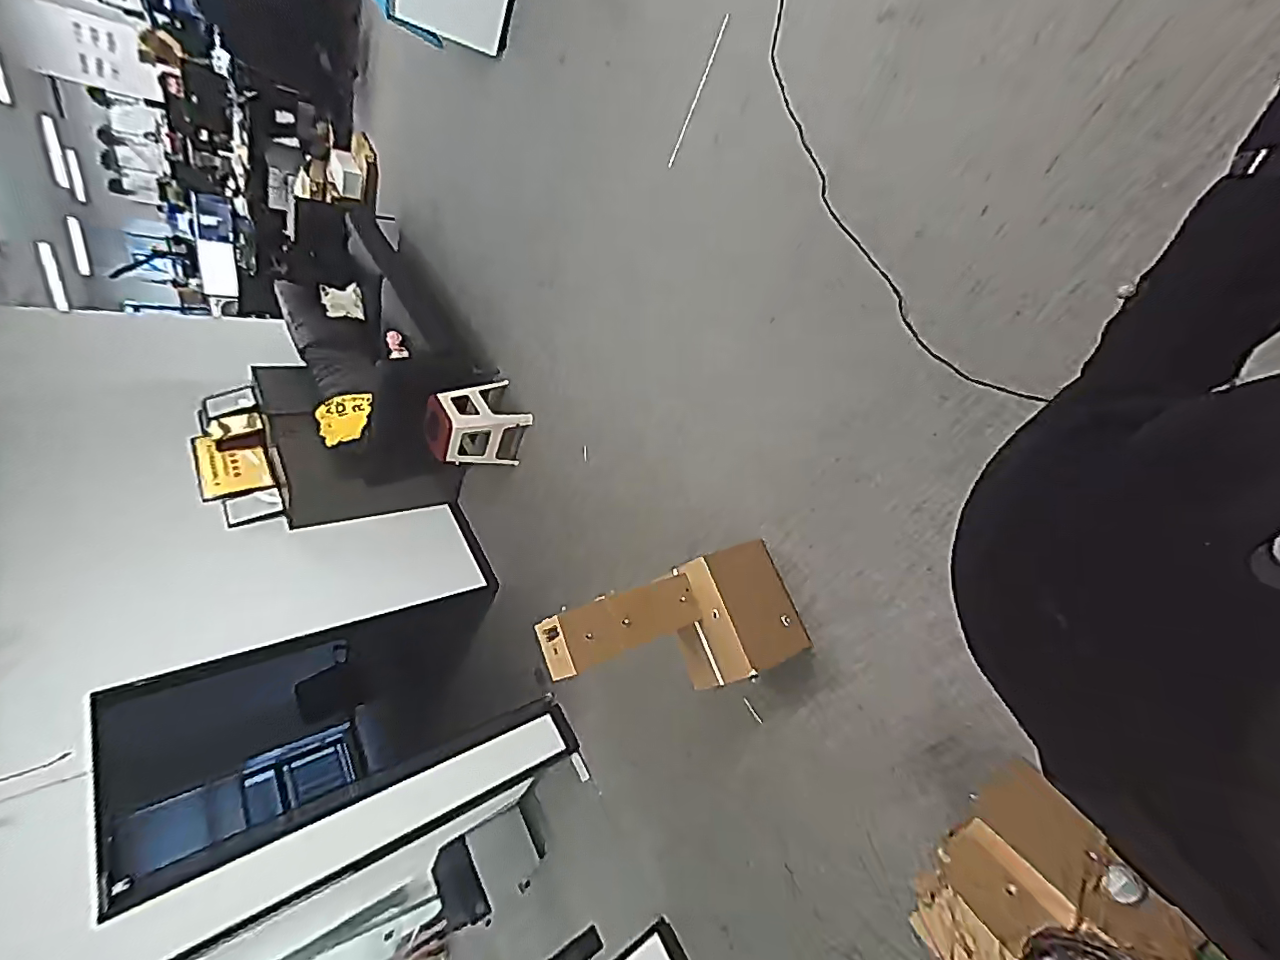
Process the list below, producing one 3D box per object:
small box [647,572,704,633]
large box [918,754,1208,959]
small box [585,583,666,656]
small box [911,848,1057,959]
[{"bbox_3d":[0.083,0.426,1.823,0.179,0.176,0.168,-40,67,48],"label":"small box"},{"bbox_3d":[0.959,0.951,1.257,0.408,0.320,0.320,40,127,37],"label":"large box"},{"bbox_3d":[-0.046,0.441,1.726,0.168,0.176,0.179,-38,69,49],"label":"small box"},{"bbox_3d":[0.726,0.923,1.144,0.179,0.176,0.168,46,129,35],"label":"small box"}]
